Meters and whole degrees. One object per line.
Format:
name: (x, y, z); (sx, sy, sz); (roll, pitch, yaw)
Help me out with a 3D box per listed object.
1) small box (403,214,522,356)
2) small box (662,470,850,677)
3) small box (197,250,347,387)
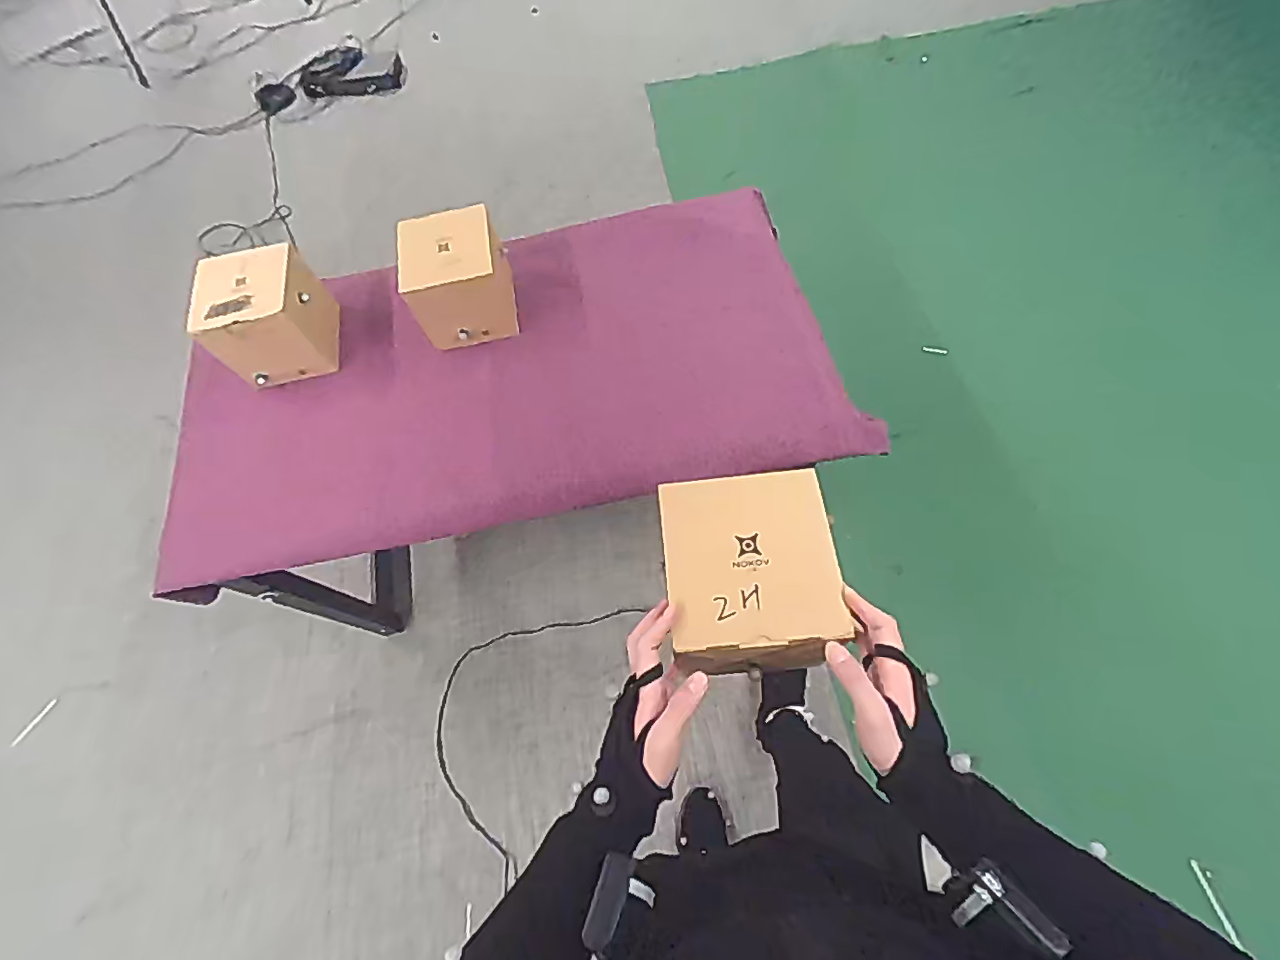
small box: (-0.331, -0.365, 1.029); (0.168, 0.176, 0.179); (-12, 65, 0)
small box: (0.114, 0.110, 0.599); (0.168, 0.176, 0.179); (-6, 61, 5)
small box: (-0.682, -0.295, 1.025); (0.168, 0.176, 0.179); (-12, 64, -1)
